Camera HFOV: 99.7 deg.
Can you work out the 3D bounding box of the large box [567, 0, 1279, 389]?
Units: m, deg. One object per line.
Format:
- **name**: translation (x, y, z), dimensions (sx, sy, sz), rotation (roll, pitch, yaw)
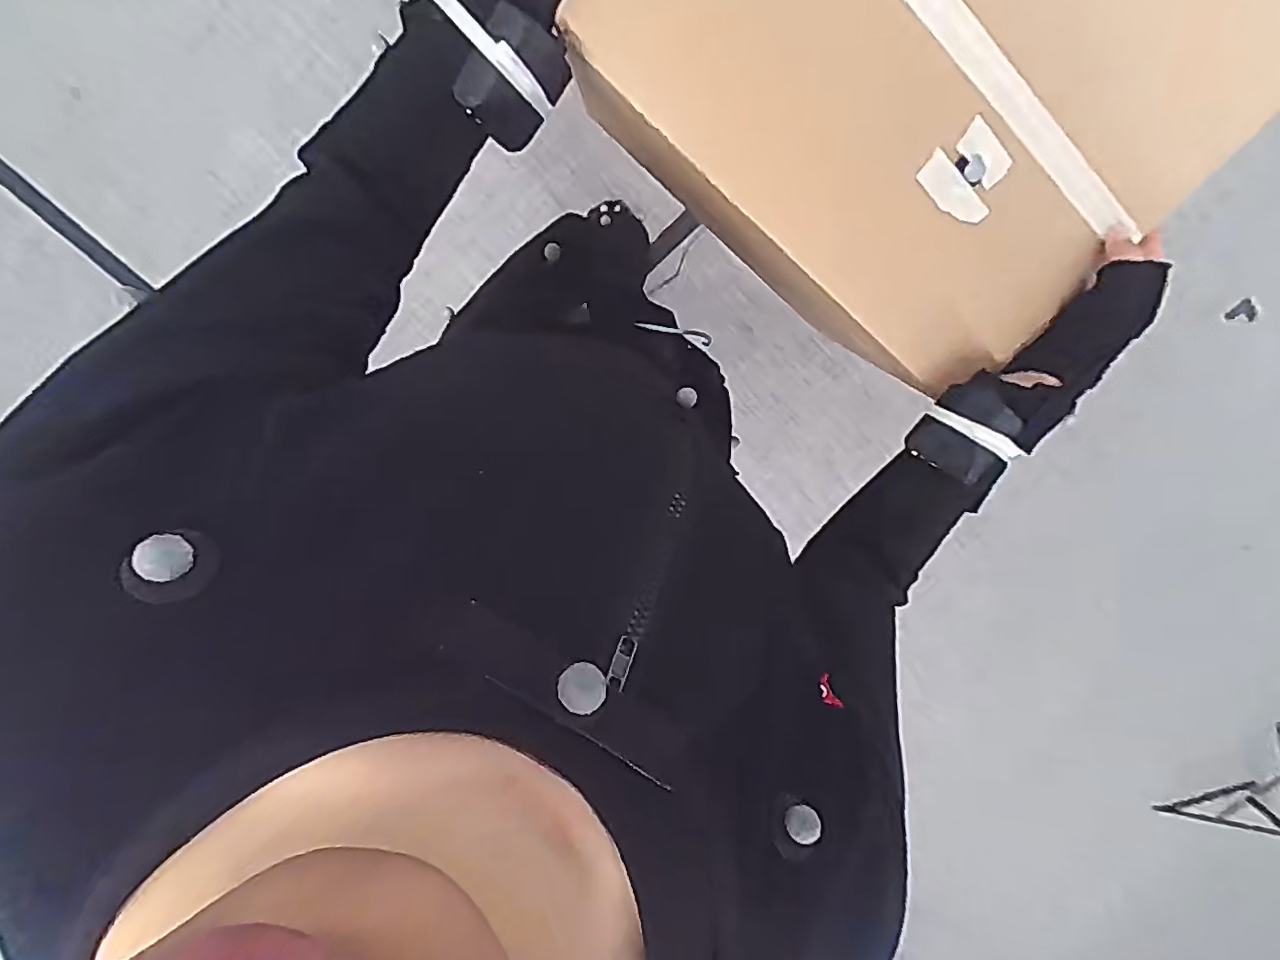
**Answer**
- **large box**: translation (0.191, -0.354, 0.482), dimensions (0.408, 0.320, 0.320), rotation (35, 111, -18)
